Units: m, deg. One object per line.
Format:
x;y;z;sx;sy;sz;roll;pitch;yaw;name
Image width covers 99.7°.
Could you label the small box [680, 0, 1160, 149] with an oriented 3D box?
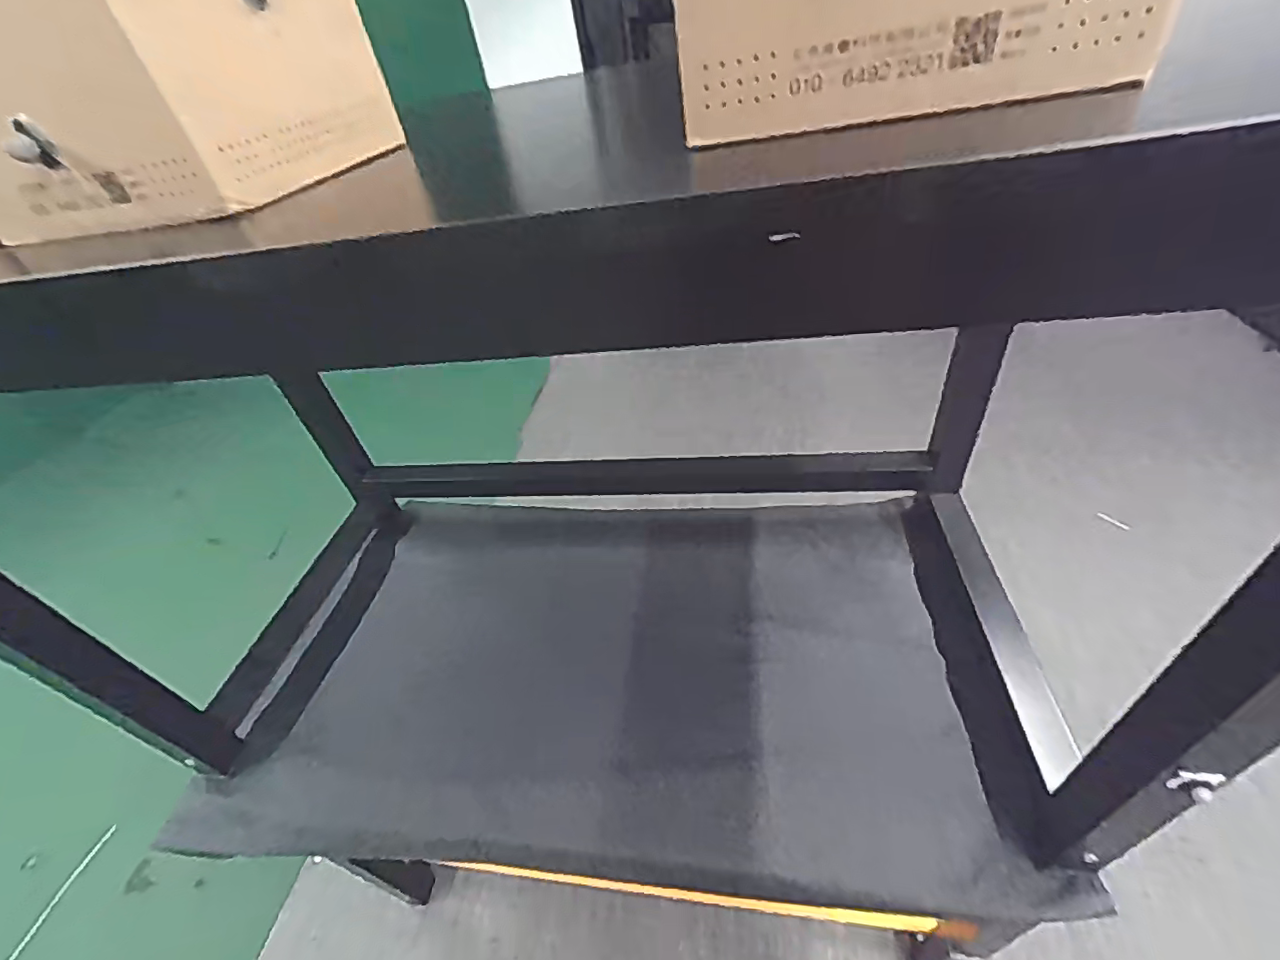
0.102;-0.249;0.220;0.168;0.176;0.179;0;42;13;small box
